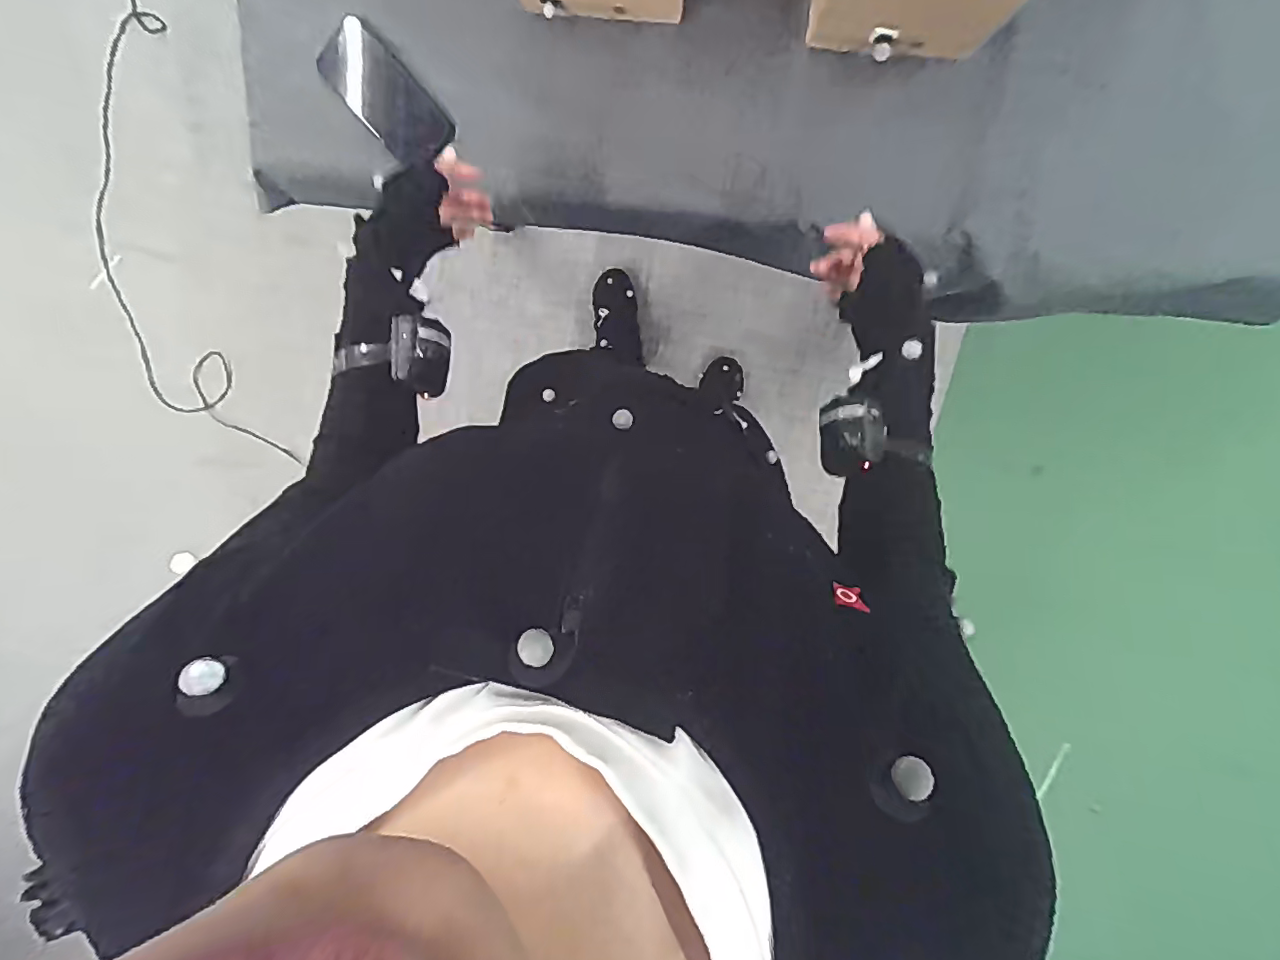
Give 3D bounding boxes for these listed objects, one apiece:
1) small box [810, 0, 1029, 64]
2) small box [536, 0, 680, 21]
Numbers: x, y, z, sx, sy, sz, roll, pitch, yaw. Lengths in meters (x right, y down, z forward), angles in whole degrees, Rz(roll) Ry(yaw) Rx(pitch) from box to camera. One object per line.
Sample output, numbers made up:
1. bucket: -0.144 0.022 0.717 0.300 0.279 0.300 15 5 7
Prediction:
1. small box: 0.252 -0.496 0.459 0.168 0.176 0.179 6 109 5
2. small box: -0.039 -0.545 0.470 0.168 0.176 0.179 7 107 3
